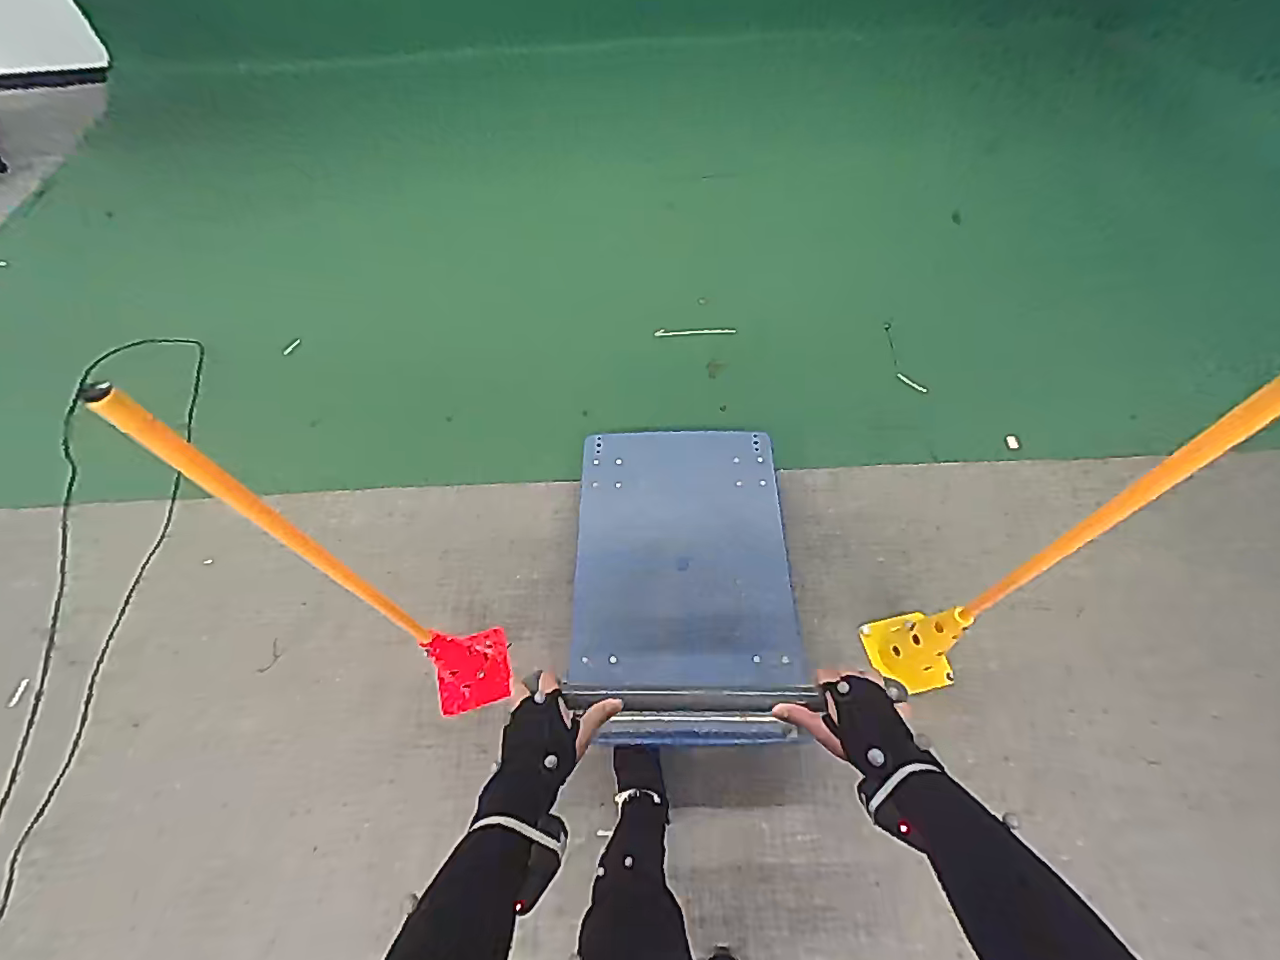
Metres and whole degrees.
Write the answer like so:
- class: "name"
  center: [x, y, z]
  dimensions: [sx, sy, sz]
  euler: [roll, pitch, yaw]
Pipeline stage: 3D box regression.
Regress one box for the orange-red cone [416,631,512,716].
- class: "orange-red cone"
  center: [-0.470, 0.445, 1.348]
  dimensions: [0.199, 0.360, 0.198]
  euler: [-16, 59, -5]
